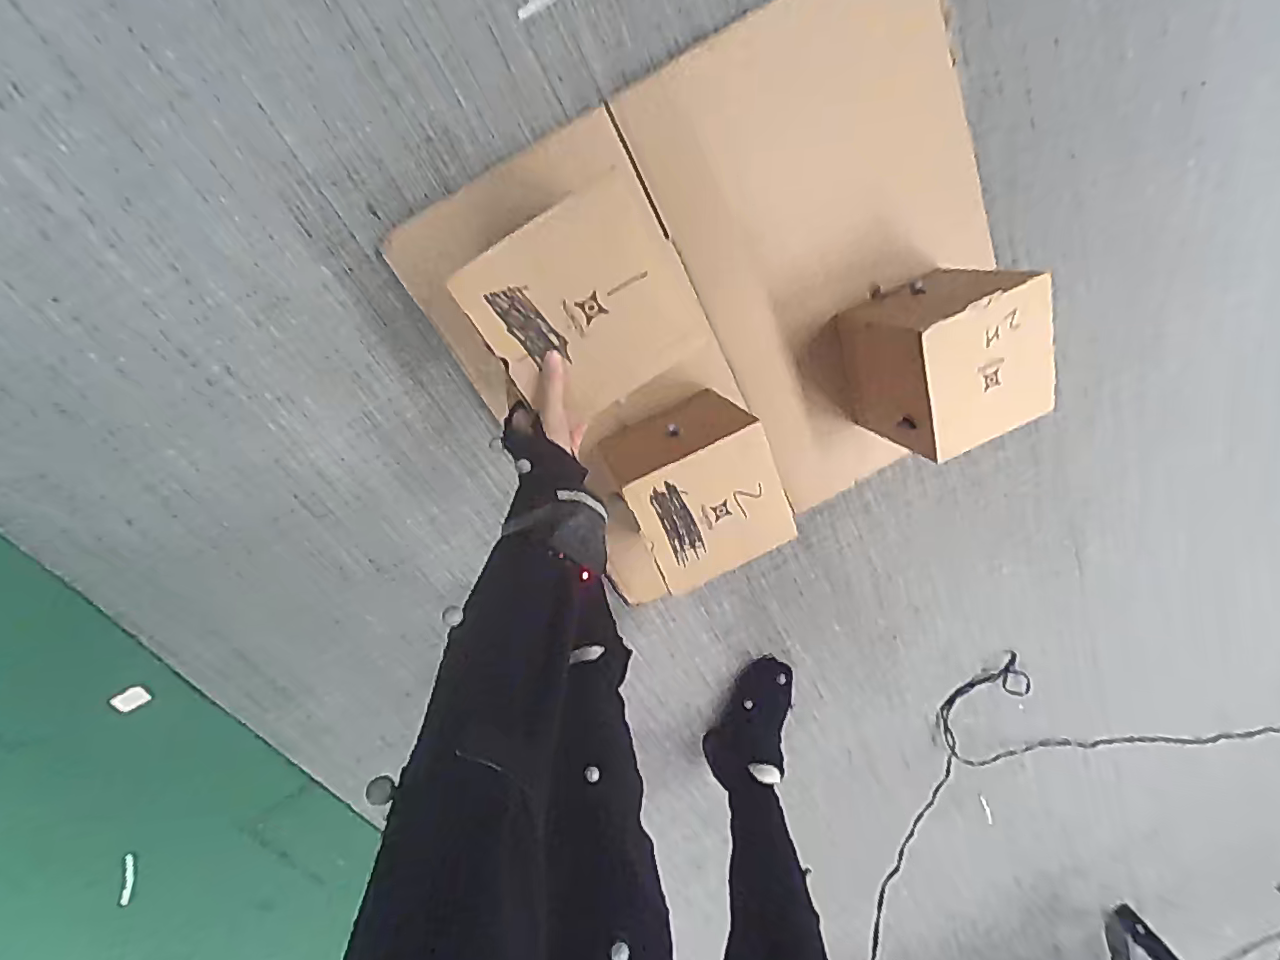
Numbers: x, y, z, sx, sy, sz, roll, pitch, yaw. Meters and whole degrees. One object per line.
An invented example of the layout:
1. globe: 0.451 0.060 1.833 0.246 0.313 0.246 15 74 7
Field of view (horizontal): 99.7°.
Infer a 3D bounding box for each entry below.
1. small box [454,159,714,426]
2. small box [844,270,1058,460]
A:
1. small box: -0.053 -0.178 0.549 0.179 0.176 0.168 -32 108 2
2. small box: 0.390 -0.156 0.695 0.168 0.176 0.179 -24 114 -3
